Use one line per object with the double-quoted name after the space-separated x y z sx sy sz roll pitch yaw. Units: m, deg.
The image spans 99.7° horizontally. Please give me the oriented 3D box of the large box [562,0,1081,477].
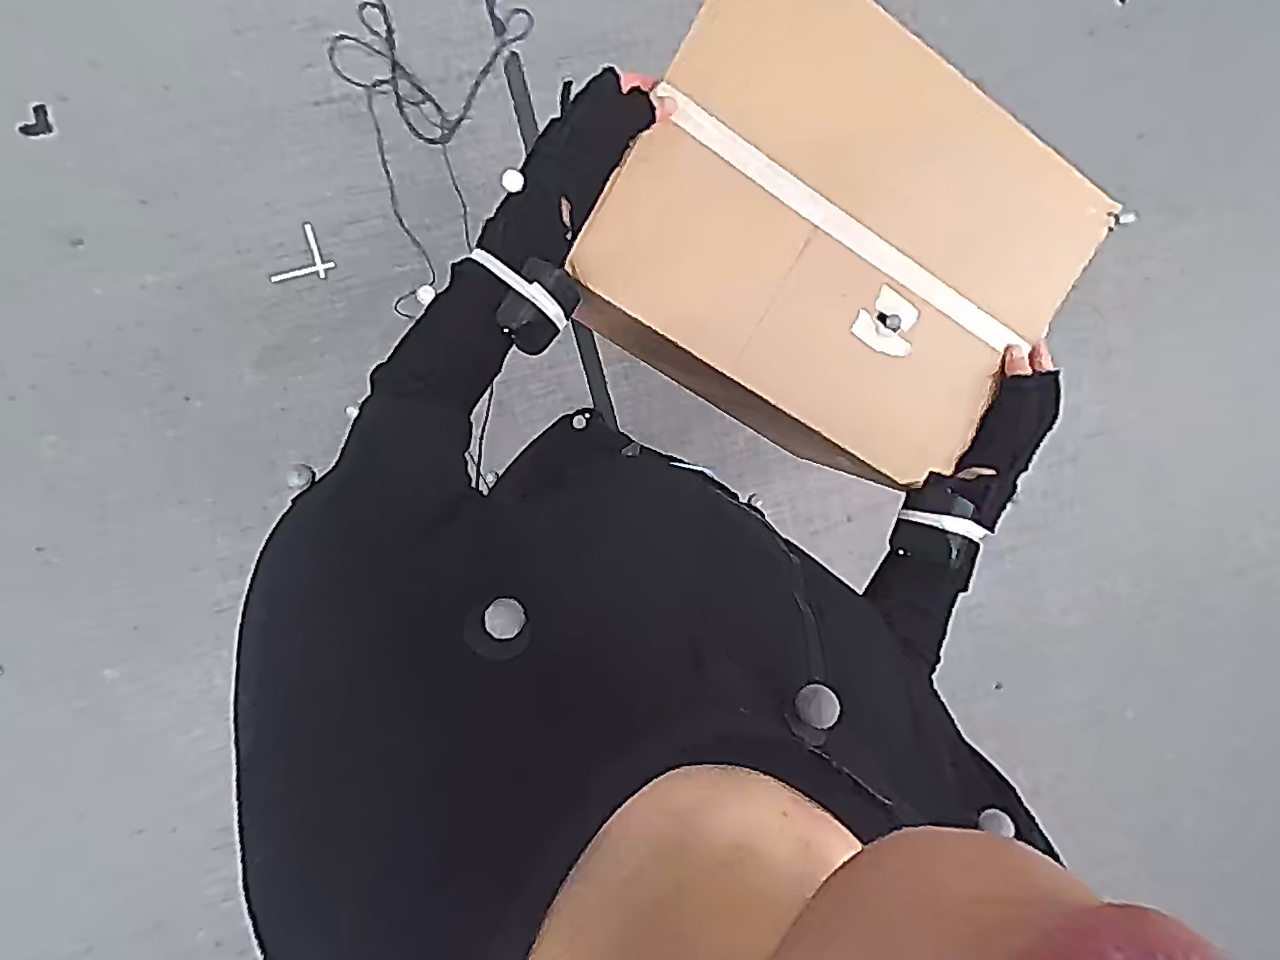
0.153 -0.248 0.627 0.408 0.320 0.320 28 97 -12 "large box"
